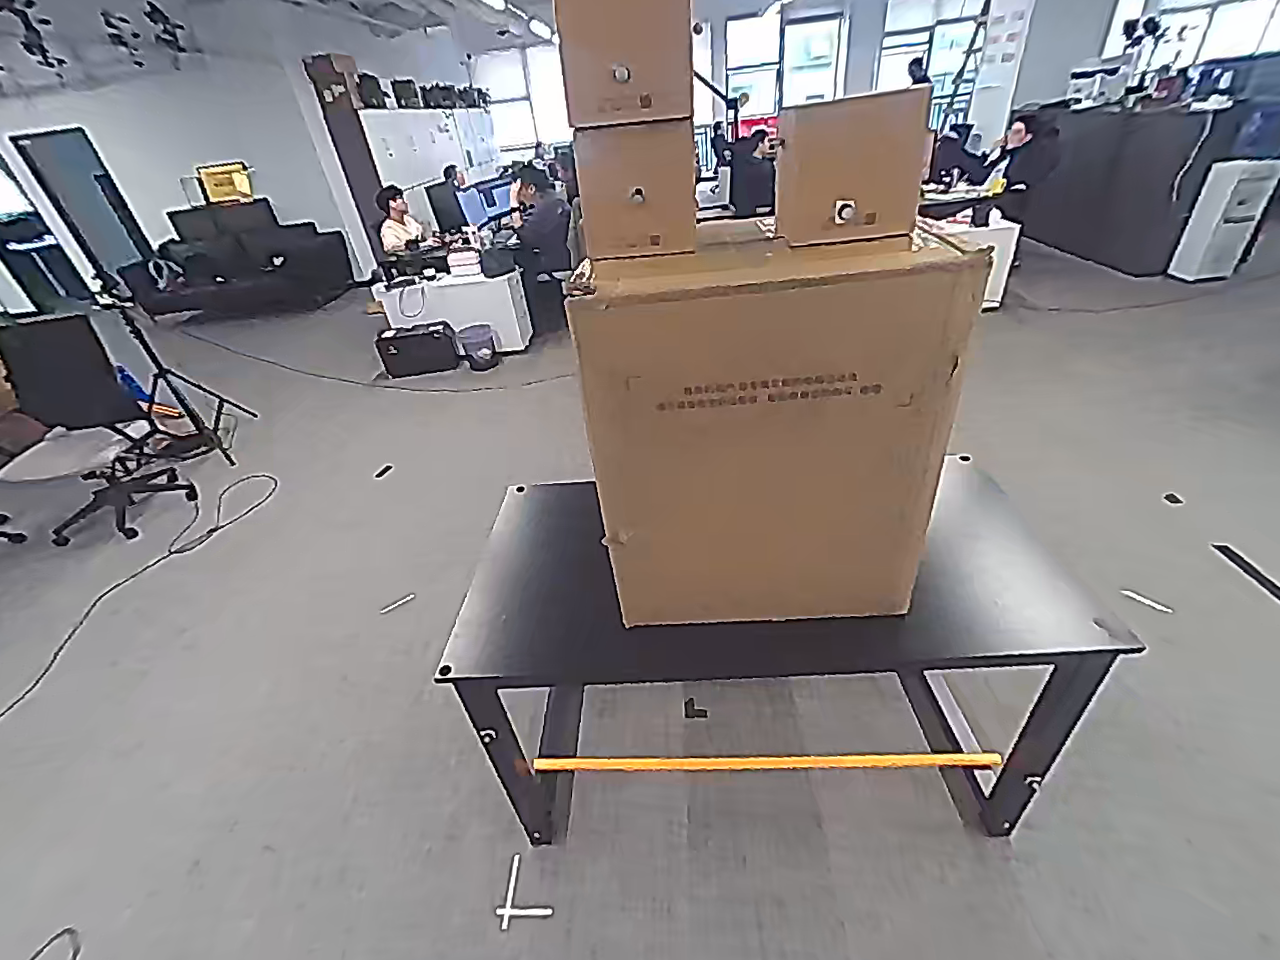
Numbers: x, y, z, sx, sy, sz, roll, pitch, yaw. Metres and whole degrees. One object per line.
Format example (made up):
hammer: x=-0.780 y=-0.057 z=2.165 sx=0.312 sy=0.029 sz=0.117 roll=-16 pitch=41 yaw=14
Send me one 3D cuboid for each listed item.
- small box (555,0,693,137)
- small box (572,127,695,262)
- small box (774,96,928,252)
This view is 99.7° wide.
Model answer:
small box: x=-0.014 y=-0.571 z=0.733 sx=0.168 sy=0.176 sz=0.179 roll=-2 pitch=34 yaw=5
small box: x=-0.002 y=-0.442 z=0.839 sx=0.168 sy=0.176 sz=0.179 roll=-3 pitch=34 yaw=4
small box: x=0.287 y=-0.438 z=0.781 sx=0.168 sy=0.176 sz=0.179 roll=-5 pitch=34 yaw=8
